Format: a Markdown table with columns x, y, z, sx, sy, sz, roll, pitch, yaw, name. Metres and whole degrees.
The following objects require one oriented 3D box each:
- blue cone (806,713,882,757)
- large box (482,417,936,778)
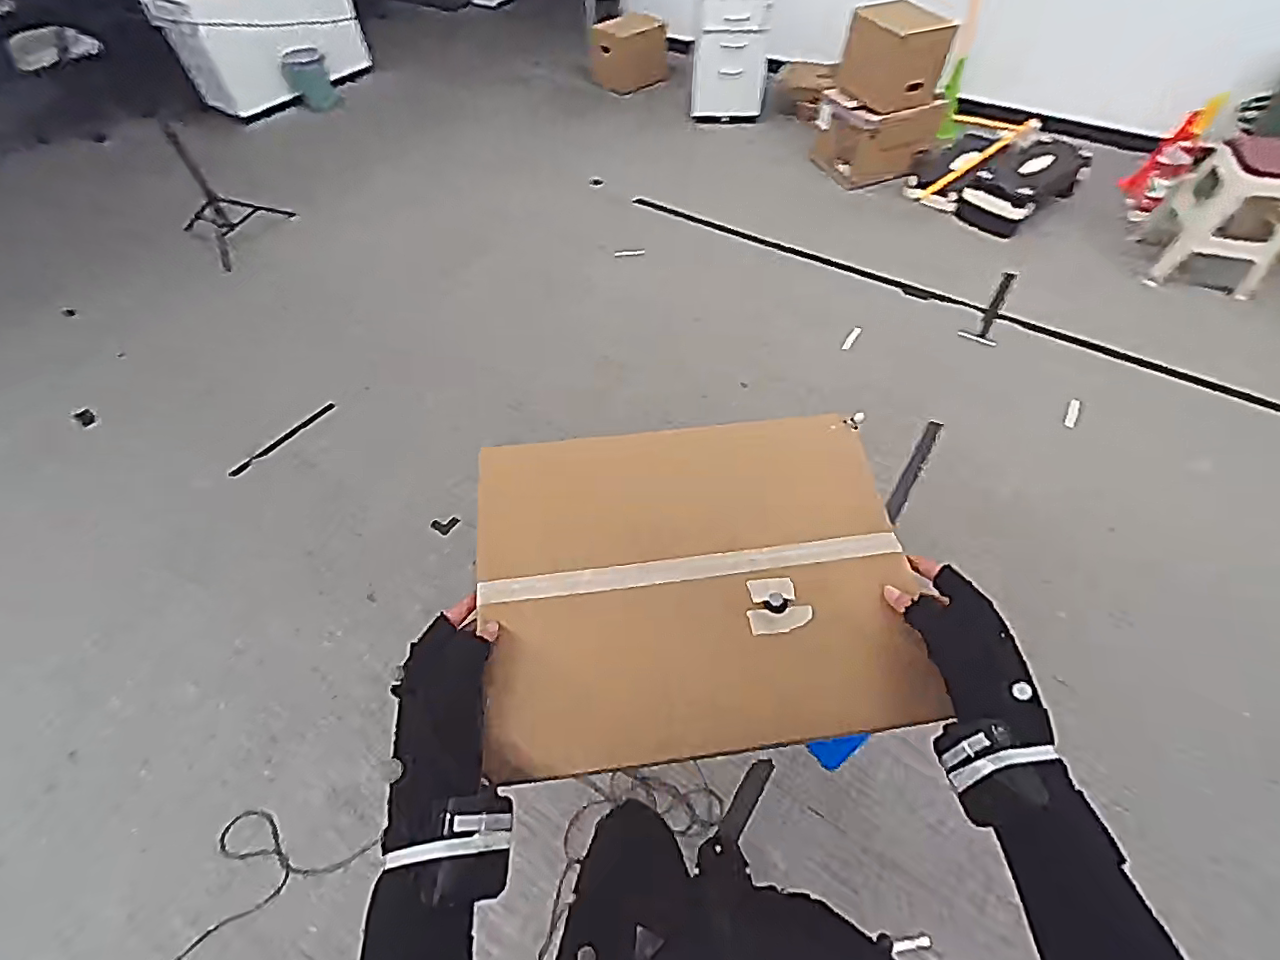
| x | y | z | sx | sy | sz | roll | pitch | yaw | name |
| --- | --- | --- | --- | --- | --- | --- | --- | --- | --- |
| 0.483 | 0.479 | 1.230 | 0.192 | 0.380 | 0.193 | -30 | 60 | -18 | blue cone |
| 0.044 | 0.156 | 0.661 | 0.408 | 0.320 | 0.320 | -7 | 63 | -5 | large box |
